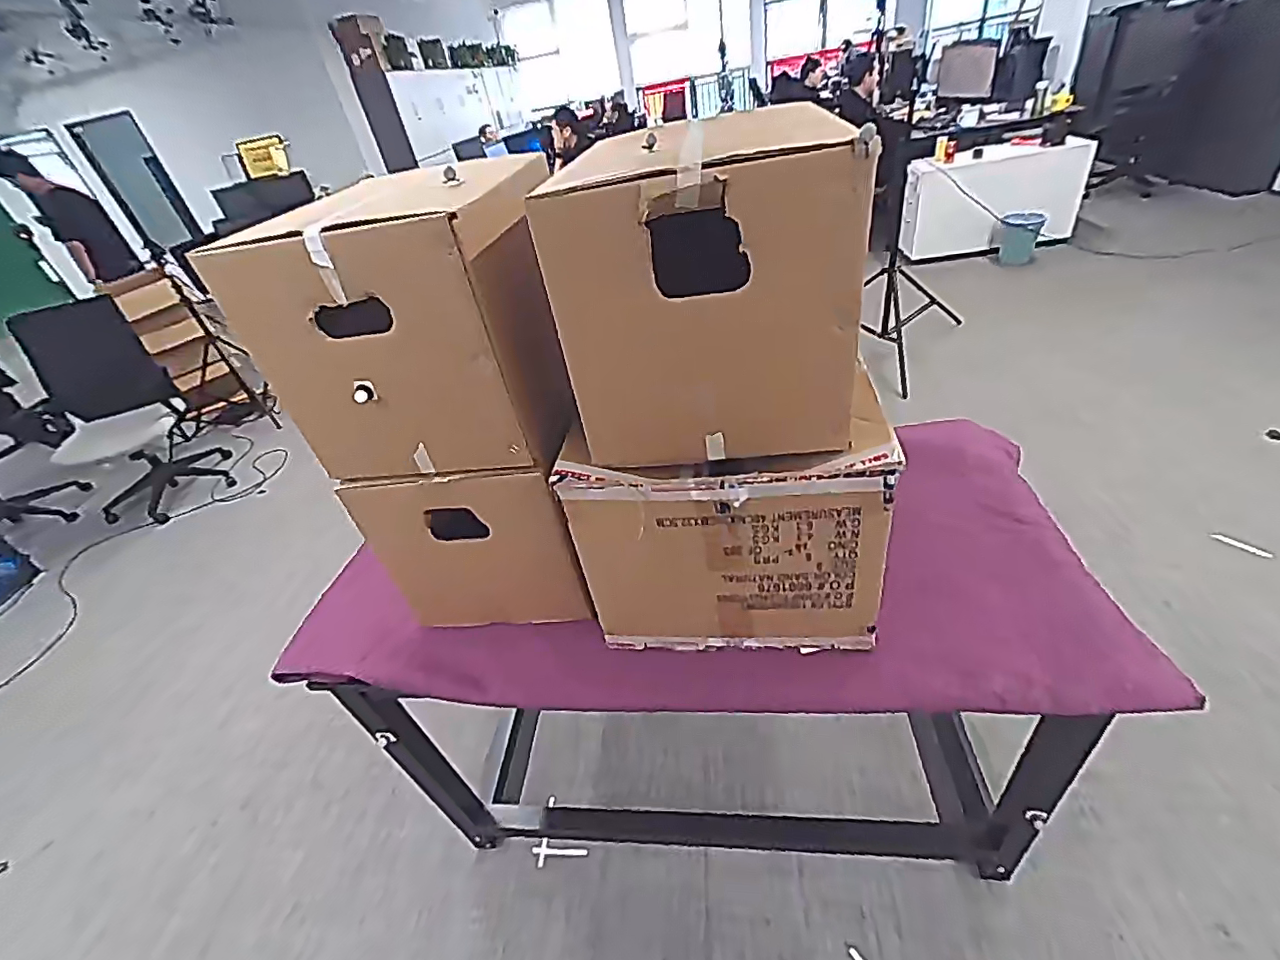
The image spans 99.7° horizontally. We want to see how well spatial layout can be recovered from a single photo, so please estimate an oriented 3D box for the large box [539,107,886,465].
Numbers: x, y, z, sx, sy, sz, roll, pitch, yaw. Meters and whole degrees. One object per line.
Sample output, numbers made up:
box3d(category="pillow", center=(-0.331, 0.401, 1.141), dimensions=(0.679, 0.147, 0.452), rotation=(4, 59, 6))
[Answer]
box3d(category="large box", center=(0.094, -0.267, 0.713), dimensions=(0.320, 0.320, 0.408), rotation=(-5, 38, 11))
